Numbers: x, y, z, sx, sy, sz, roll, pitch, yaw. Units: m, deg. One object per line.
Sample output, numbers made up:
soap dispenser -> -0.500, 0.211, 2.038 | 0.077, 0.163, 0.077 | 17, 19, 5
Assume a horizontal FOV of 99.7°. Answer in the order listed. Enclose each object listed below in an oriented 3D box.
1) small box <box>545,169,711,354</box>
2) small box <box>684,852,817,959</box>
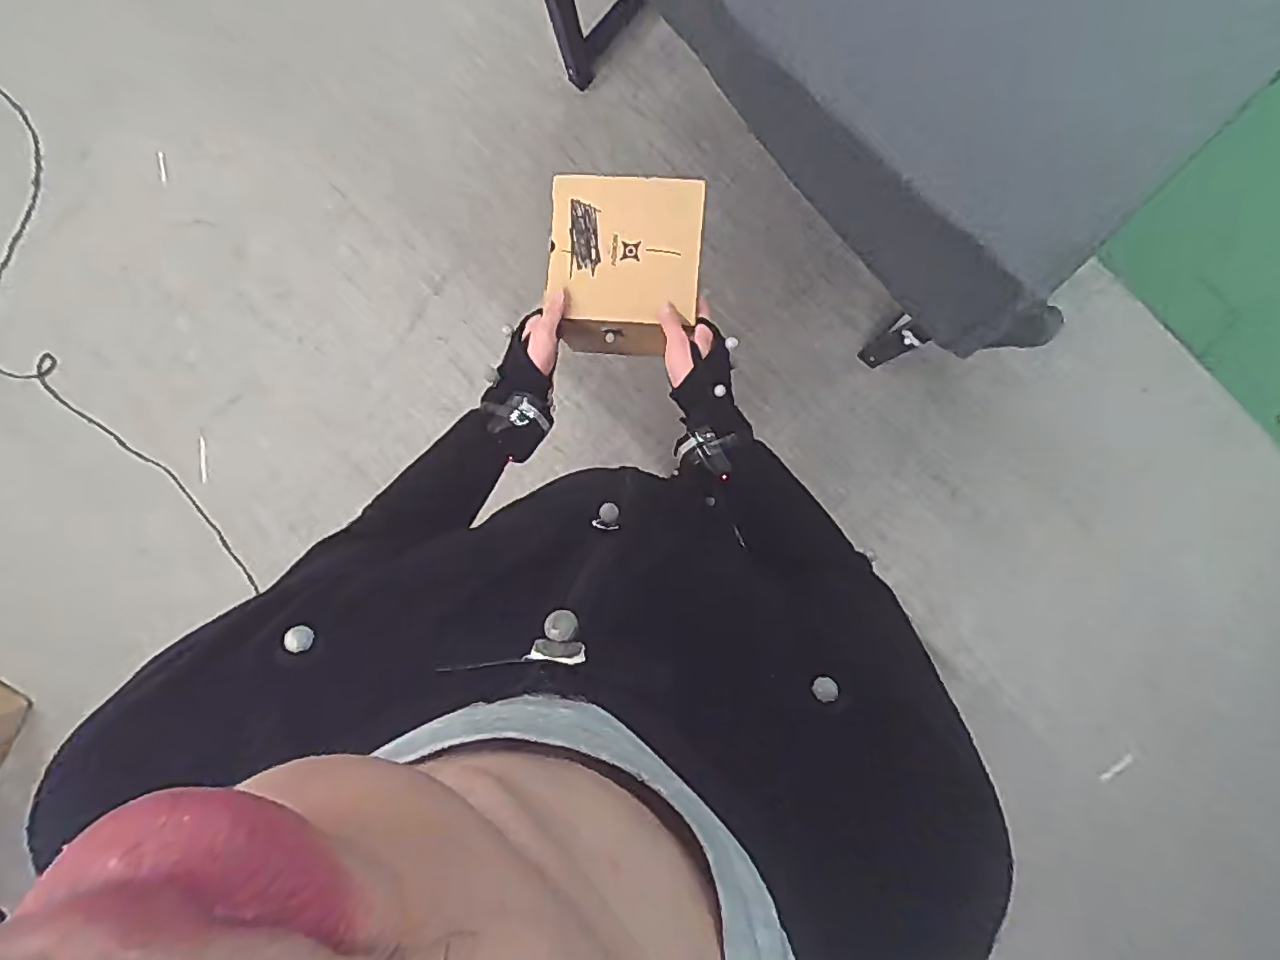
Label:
small box -> -0.011, -0.261, 0.682 | 0.179, 0.176, 0.168 | 4, 91, 2
small box -> 0.190, 0.802, 0.926 | 0.179, 0.176, 0.168 | -42, 91, 5
